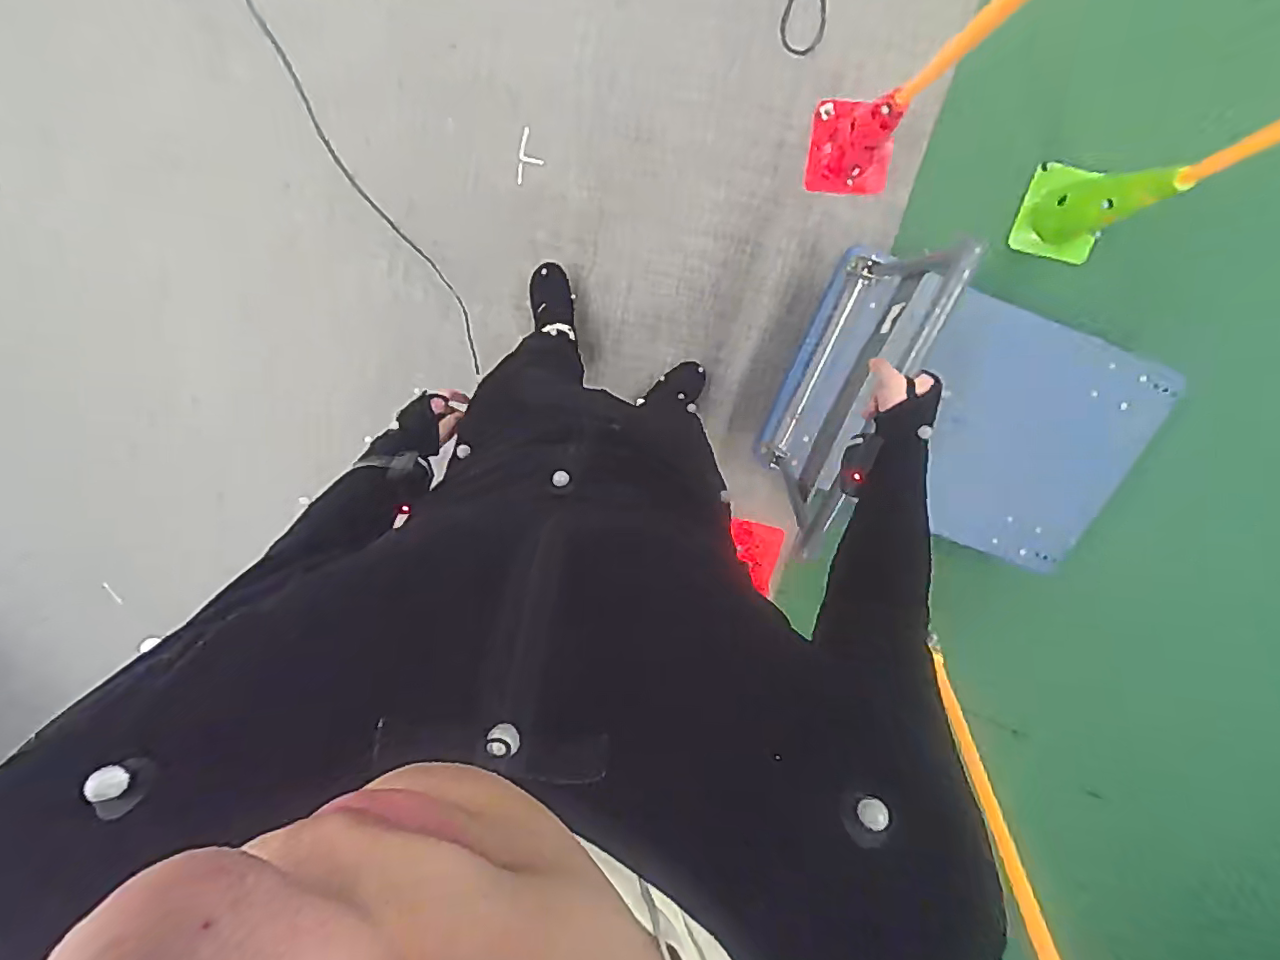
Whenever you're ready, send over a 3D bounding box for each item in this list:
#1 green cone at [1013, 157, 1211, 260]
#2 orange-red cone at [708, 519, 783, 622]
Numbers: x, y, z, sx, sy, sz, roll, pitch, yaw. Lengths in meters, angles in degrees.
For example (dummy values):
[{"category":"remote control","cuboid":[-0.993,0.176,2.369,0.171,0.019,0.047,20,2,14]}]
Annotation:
[{"category":"green cone","cuboid":[1.023,-0.605,1.151,0.202,0.368,0.200,13,108,0]},{"category":"orange-red cone","cuboid":[0.313,0.279,1.511,0.199,0.360,0.198,13,110,-1]}]
